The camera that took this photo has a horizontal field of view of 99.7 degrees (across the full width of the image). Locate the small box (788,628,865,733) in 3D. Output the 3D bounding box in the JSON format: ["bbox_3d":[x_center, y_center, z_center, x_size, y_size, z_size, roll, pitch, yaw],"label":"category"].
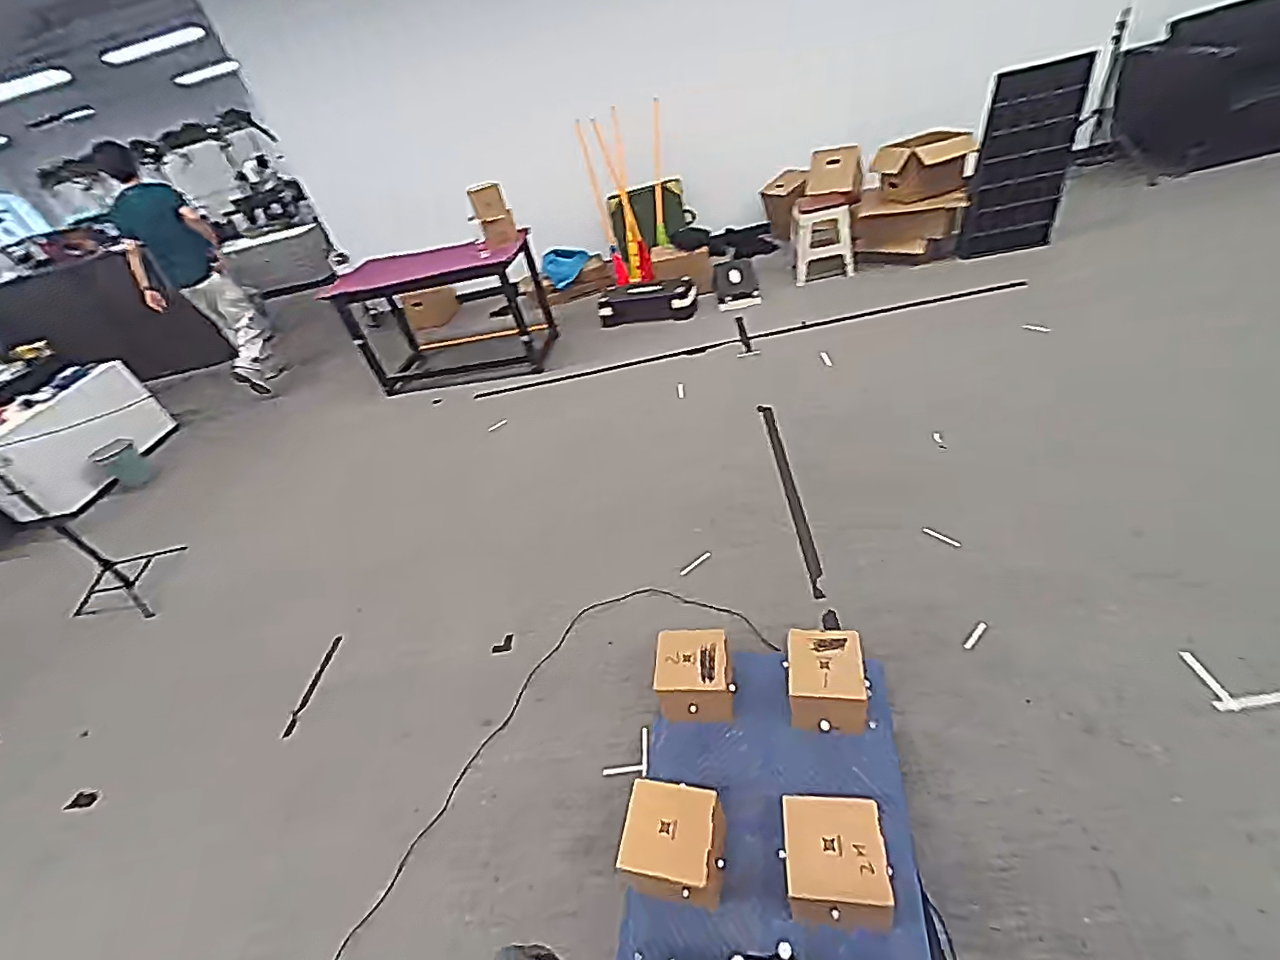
[{"bbox_3d":[0.444,0.481,1.307,0.168,0.176,0.179,-3,41,16],"label":"small box"}]

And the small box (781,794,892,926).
[{"bbox_3d":[0.370,0.725,1.034,0.179,0.176,0.168,-5,40,14],"label":"small box"}]

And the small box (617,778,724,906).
[{"bbox_3d":[0.071,0.745,1.114,0.179,0.176,0.168,0,40,16],"label":"small box"}]
